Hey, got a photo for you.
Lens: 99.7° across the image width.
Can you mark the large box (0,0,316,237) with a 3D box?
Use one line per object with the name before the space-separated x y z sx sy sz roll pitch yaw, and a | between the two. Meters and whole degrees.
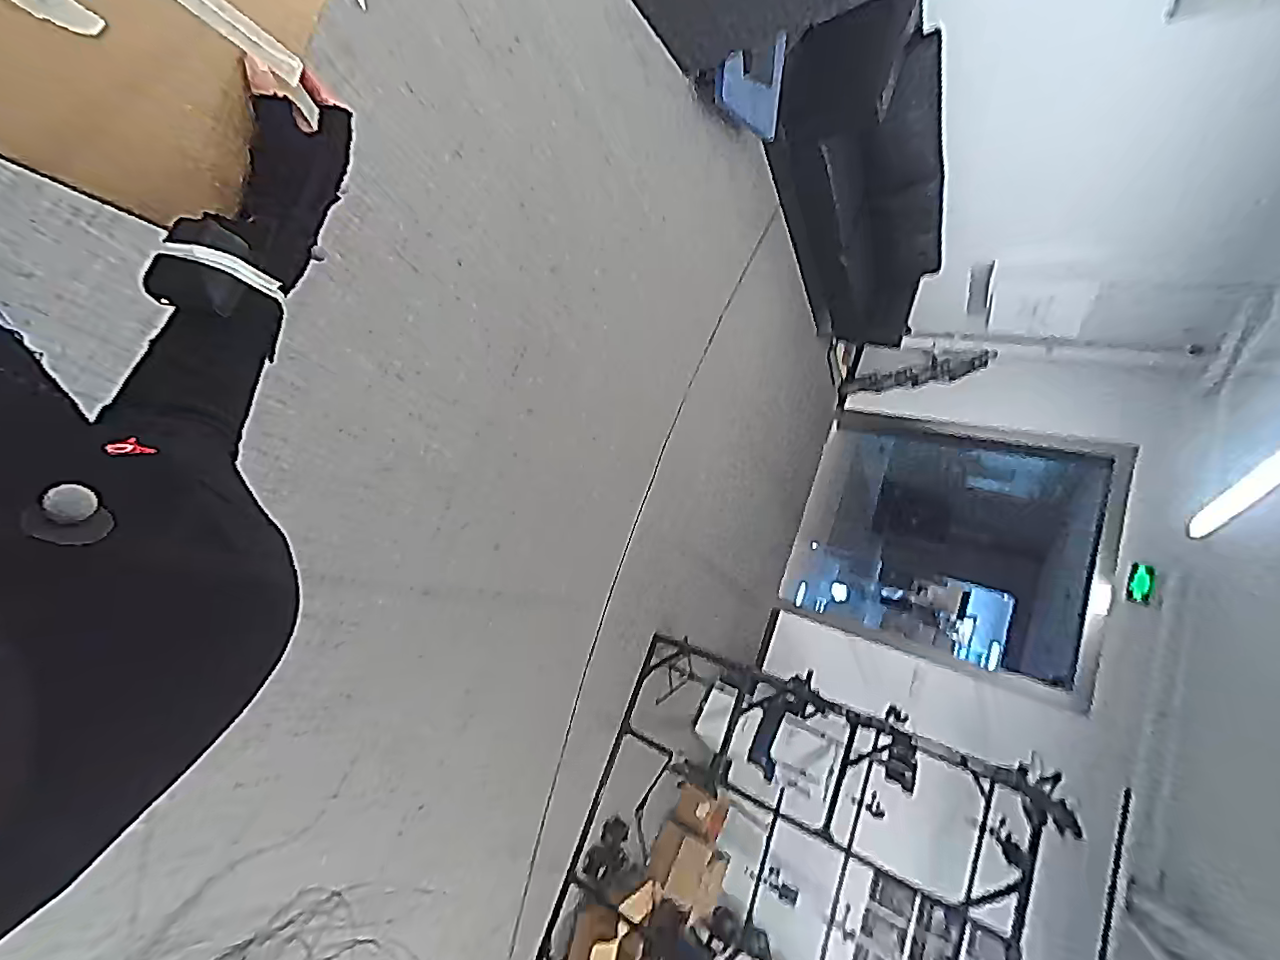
large box | -0.503 -0.427 0.352 0.408 0.320 0.320 16 101 -59
